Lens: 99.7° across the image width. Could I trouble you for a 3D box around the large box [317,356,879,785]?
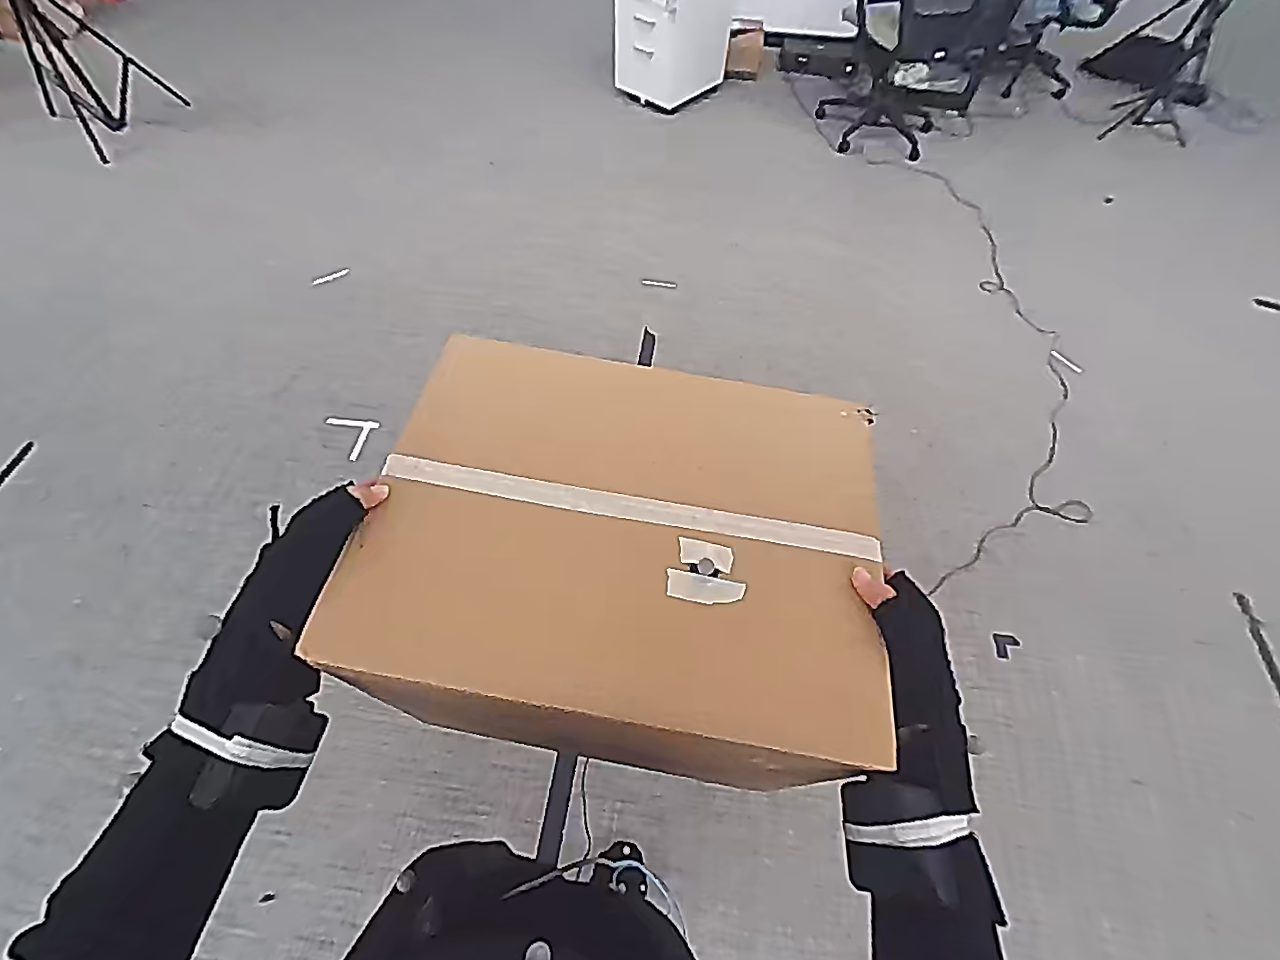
[{"bbox_3d":[-0.021,0.112,0.575,0.408,0.320,0.320,10,59,1],"label":"large box"}]
